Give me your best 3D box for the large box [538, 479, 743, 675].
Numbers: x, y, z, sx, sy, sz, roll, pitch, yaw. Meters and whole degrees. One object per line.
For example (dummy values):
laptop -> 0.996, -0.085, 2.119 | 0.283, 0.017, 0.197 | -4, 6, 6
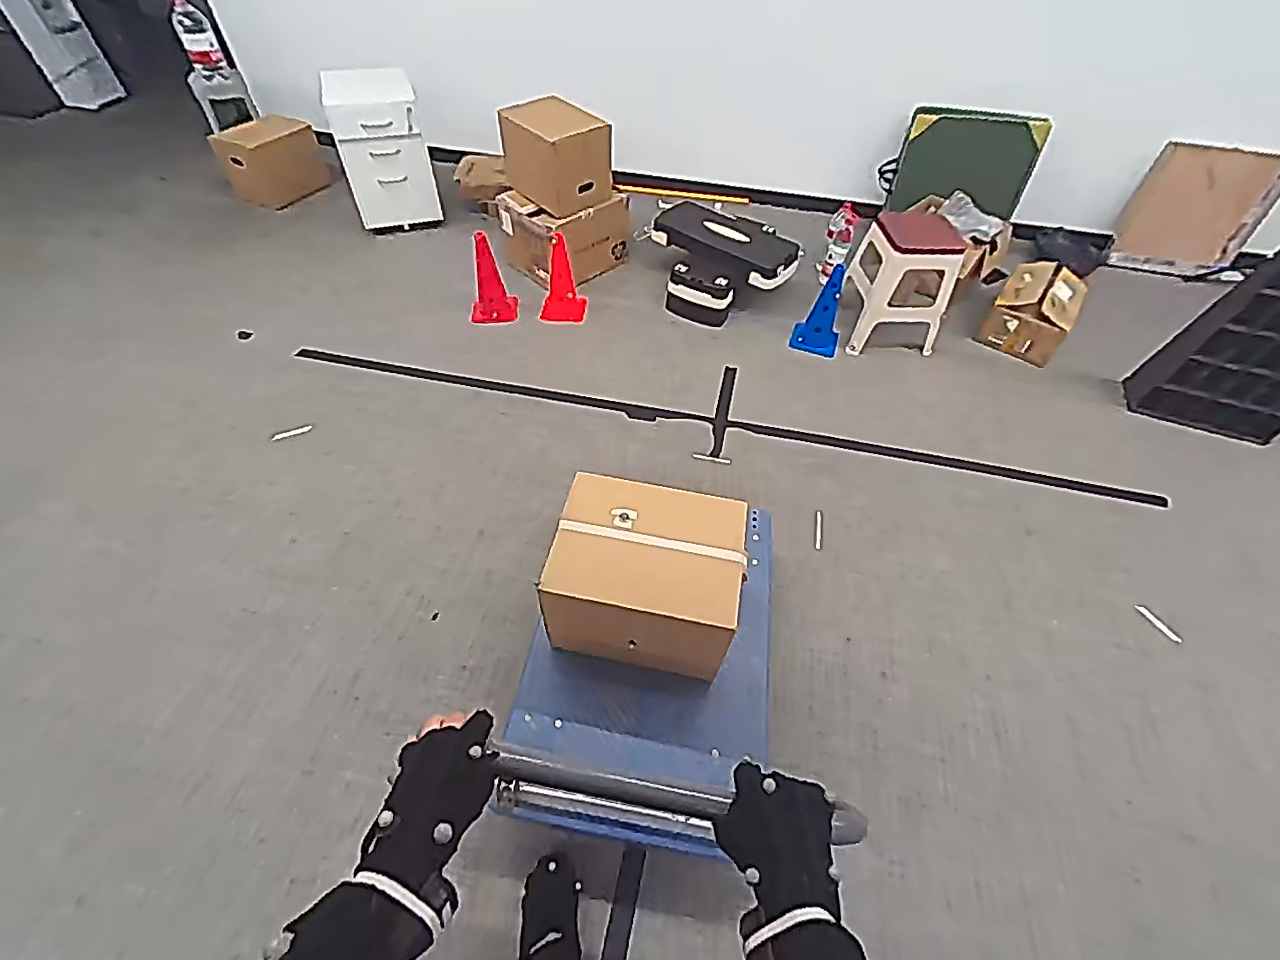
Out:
large box -> 0.012, 0.236, 1.285 | 0.408, 0.320, 0.320 | 10, 52, 6
